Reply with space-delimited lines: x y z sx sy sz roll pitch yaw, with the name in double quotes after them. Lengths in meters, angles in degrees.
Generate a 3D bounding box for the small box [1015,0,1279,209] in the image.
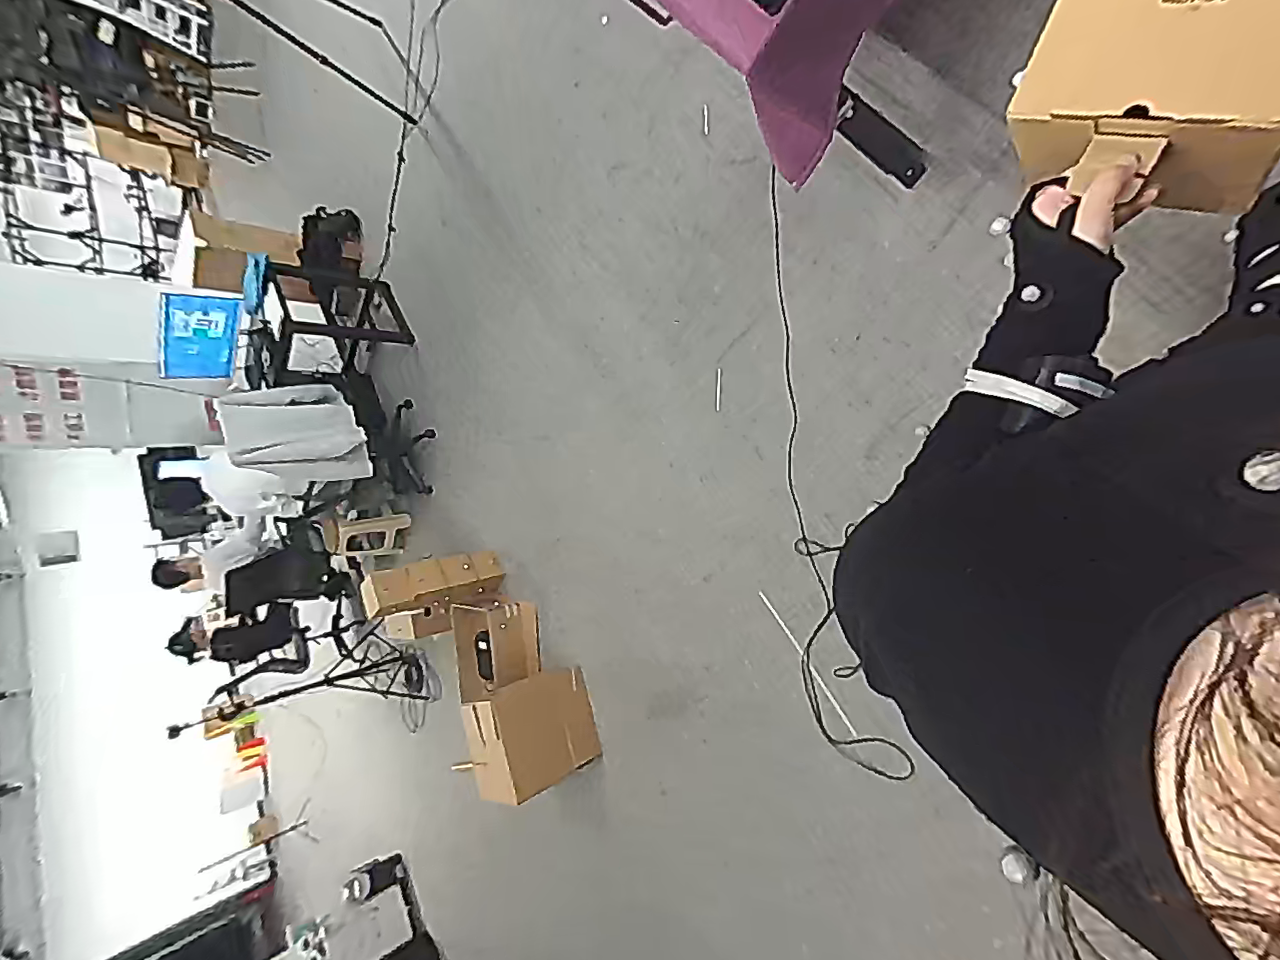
0.425 -0.336 0.415 0.168 0.176 0.179 31 113 34 "small box"
